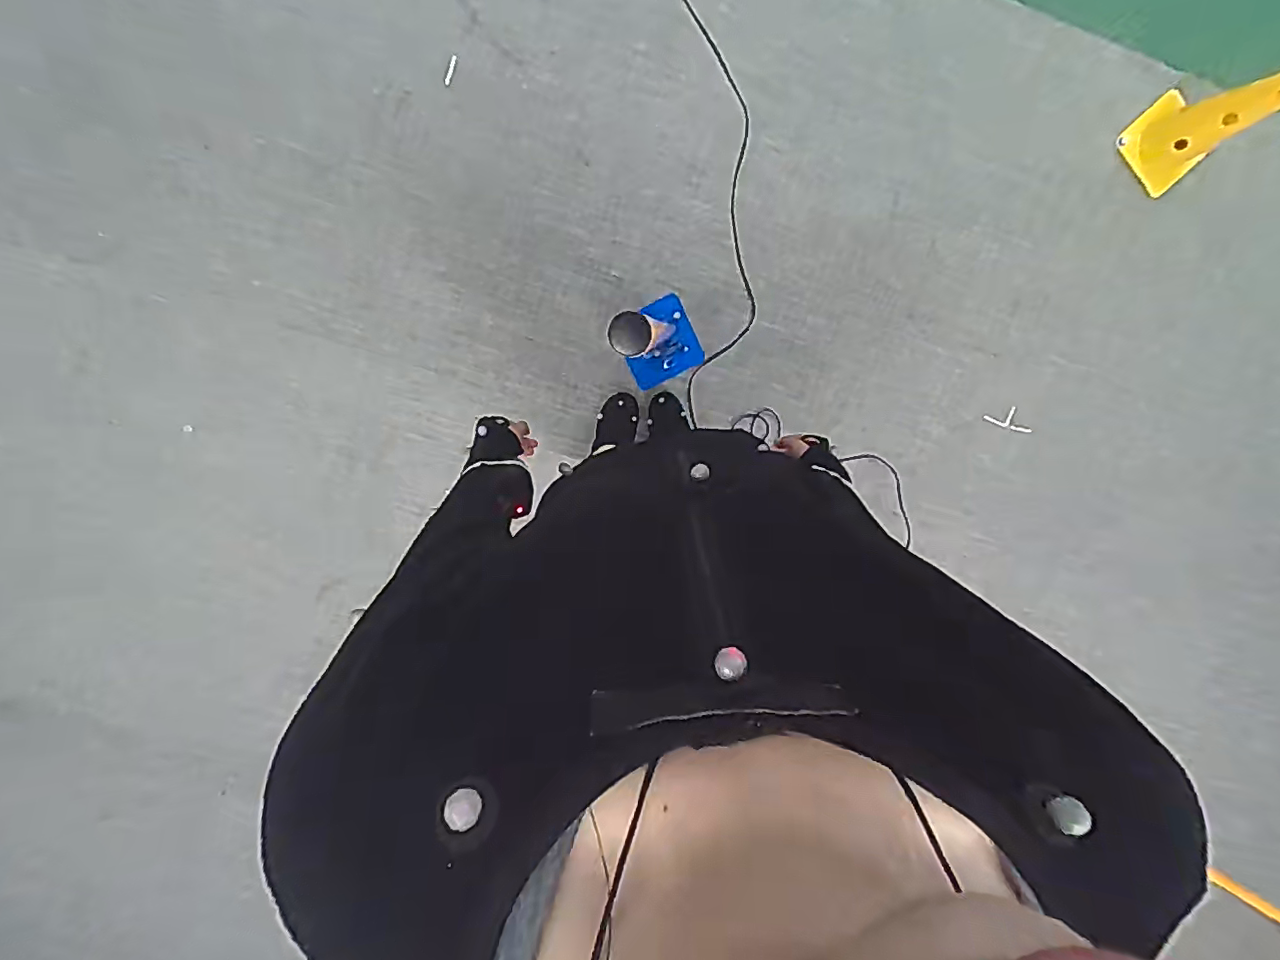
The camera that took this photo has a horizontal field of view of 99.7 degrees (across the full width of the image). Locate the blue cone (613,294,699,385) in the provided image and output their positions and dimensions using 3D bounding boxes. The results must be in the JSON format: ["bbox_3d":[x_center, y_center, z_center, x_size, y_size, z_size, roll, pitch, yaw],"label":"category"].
[{"bbox_3d":[0.049,-0.336,1.266,0.193,0.380,0.192,-28,100,4],"label":"blue cone"}]
